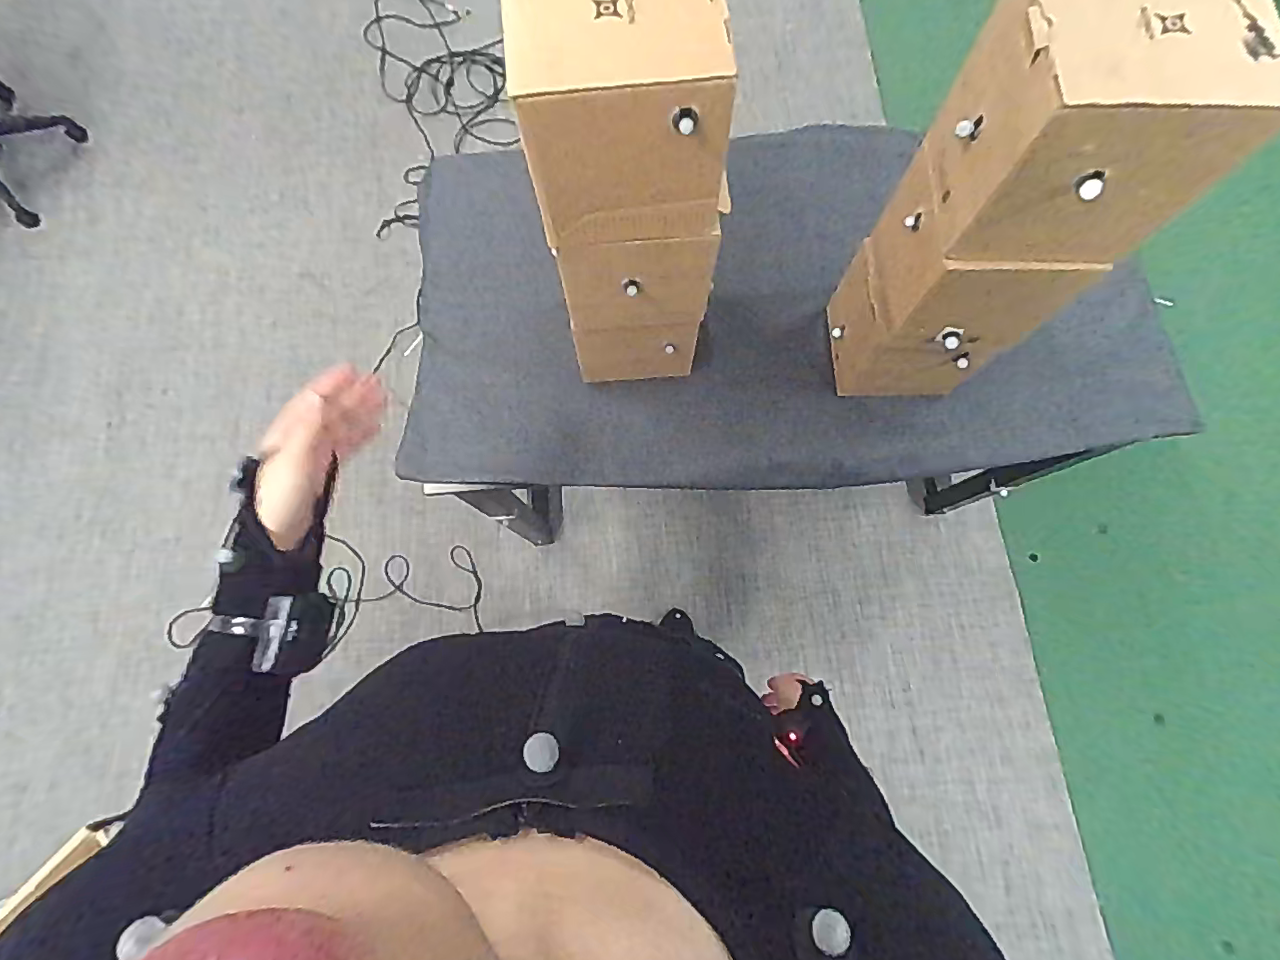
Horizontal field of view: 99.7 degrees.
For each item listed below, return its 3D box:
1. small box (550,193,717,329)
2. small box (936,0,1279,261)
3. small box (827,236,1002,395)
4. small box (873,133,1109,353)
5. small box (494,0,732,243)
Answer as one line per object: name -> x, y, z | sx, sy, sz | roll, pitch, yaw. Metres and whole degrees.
small box -> -0.011, -0.300, 0.654 | 0.179, 0.176, 0.168 | -5, 75, 0
small box -> 0.387, -0.316, 0.481 | 0.179, 0.176, 0.168 | 2, 75, 4
small box -> 0.394, -0.234, 0.797 | 0.179, 0.176, 0.168 | -1, 74, 1
small box -> 0.390, -0.270, 0.638 | 0.168, 0.176, 0.179 | 1, 76, 3
small box -> -0.024, -0.343, 0.498 | 0.179, 0.176, 0.168 | -7, 75, -2
